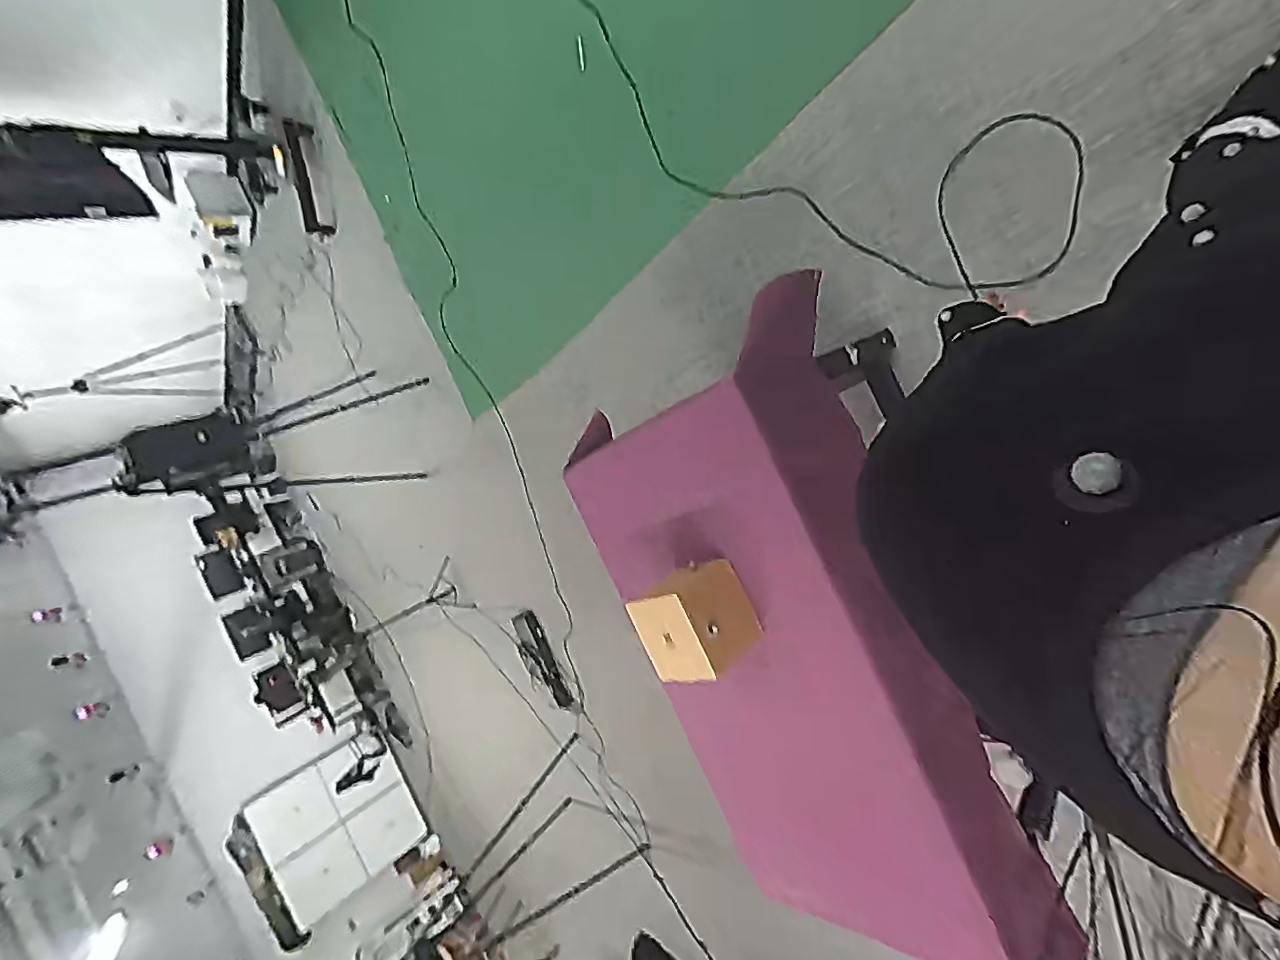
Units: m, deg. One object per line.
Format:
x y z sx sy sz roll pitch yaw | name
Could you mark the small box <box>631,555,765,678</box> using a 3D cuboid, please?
0.120 0.274 1.086 0.168 0.176 0.179 -25 90 49 | small box
